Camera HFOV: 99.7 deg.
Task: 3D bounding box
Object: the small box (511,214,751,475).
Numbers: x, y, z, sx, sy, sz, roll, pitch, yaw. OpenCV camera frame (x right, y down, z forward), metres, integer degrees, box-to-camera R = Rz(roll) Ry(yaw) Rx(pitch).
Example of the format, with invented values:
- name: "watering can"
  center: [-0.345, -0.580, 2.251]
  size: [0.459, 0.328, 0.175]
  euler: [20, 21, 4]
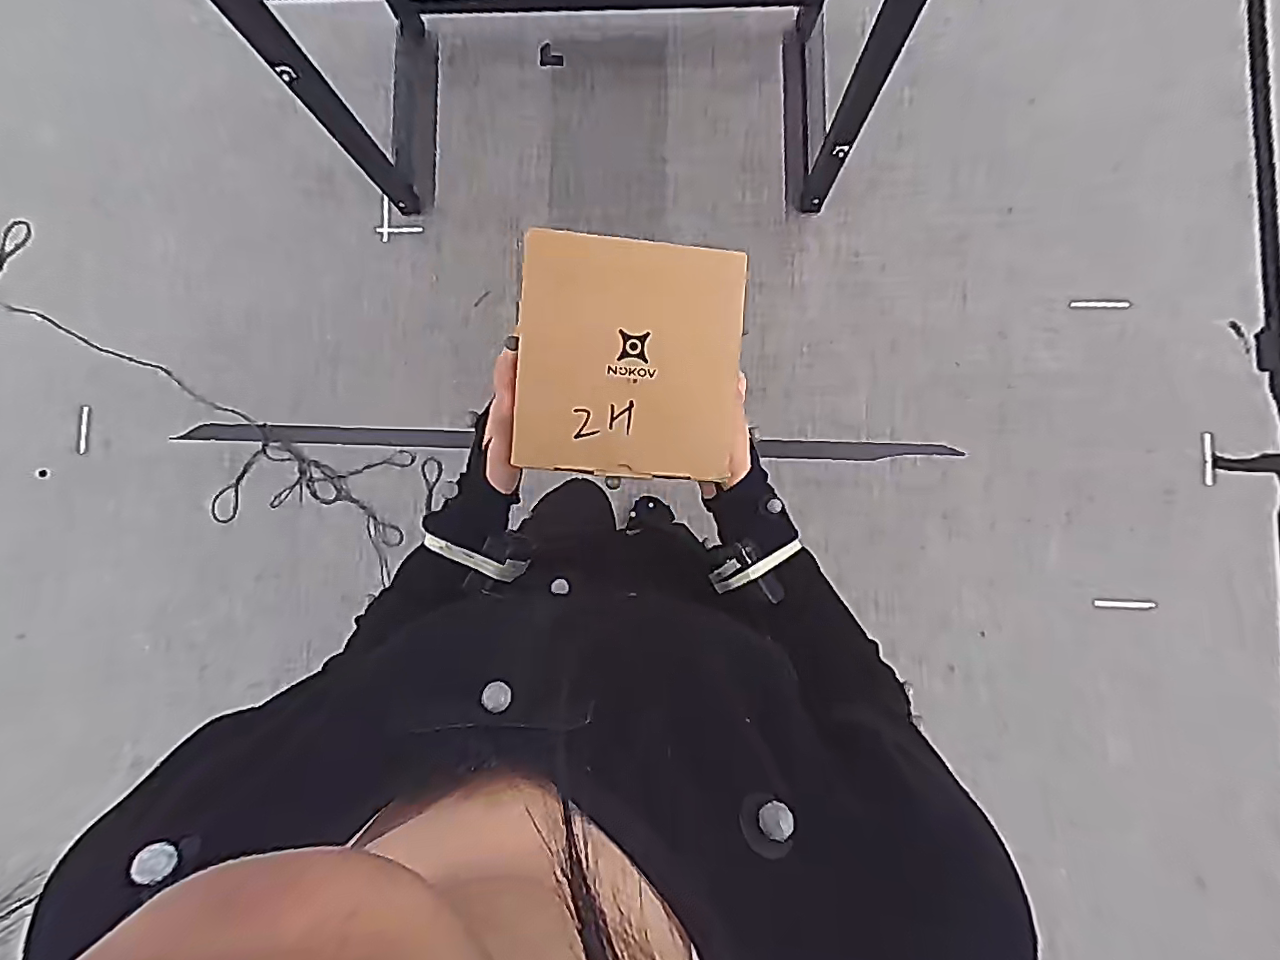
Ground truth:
- name: "small box"
  center: [-0.014, -0.098, 0.473]
  size: [0.168, 0.176, 0.179]
  euler: [5, 91, -6]
